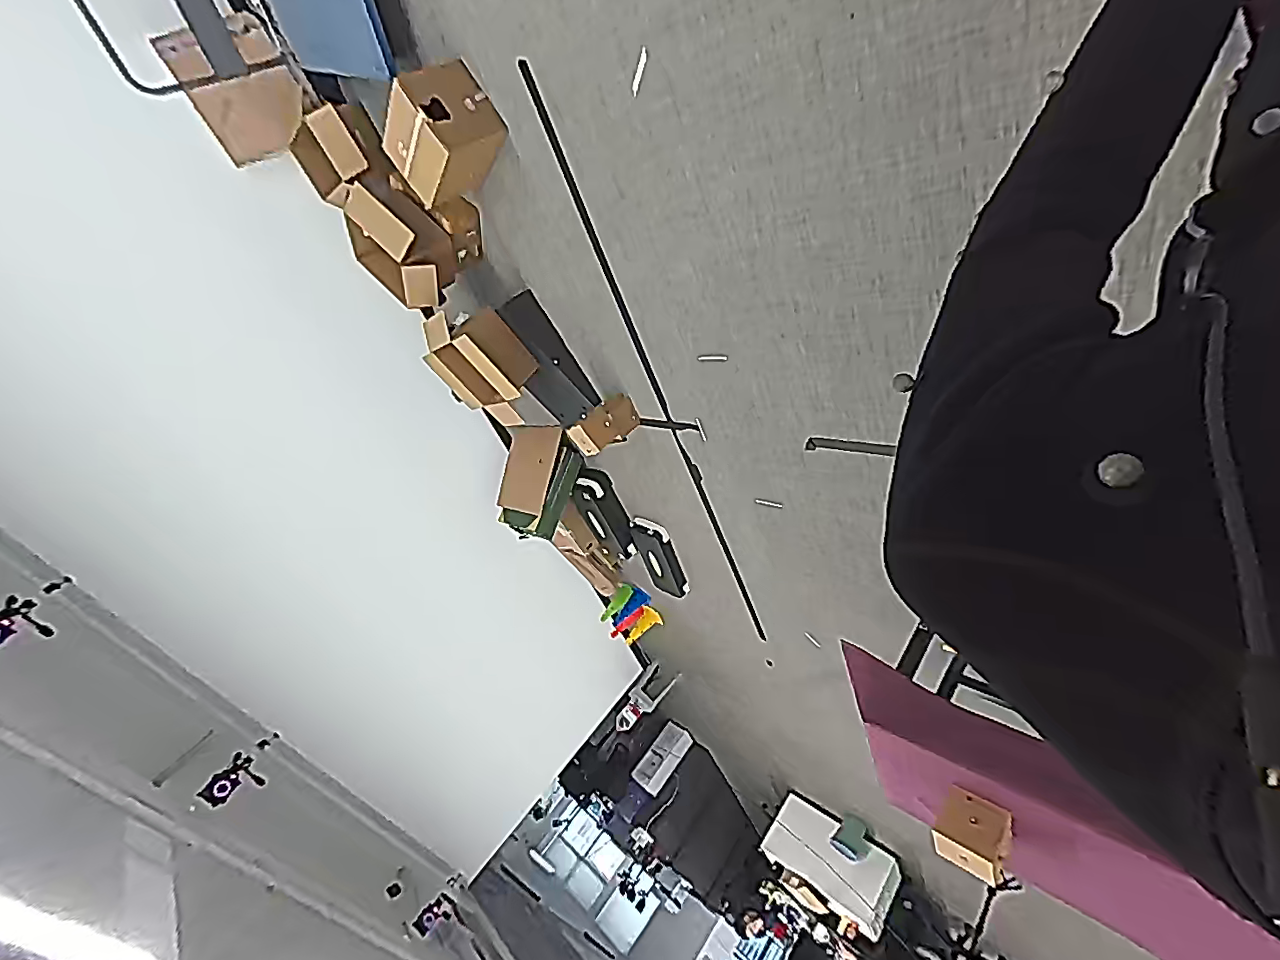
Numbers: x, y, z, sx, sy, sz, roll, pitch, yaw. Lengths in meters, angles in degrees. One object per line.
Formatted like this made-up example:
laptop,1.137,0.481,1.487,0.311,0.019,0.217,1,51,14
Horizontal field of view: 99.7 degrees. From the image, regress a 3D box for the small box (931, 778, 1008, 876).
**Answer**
small box,1.031,1.075,1.689,0.168,0.176,0.179,13,139,45
